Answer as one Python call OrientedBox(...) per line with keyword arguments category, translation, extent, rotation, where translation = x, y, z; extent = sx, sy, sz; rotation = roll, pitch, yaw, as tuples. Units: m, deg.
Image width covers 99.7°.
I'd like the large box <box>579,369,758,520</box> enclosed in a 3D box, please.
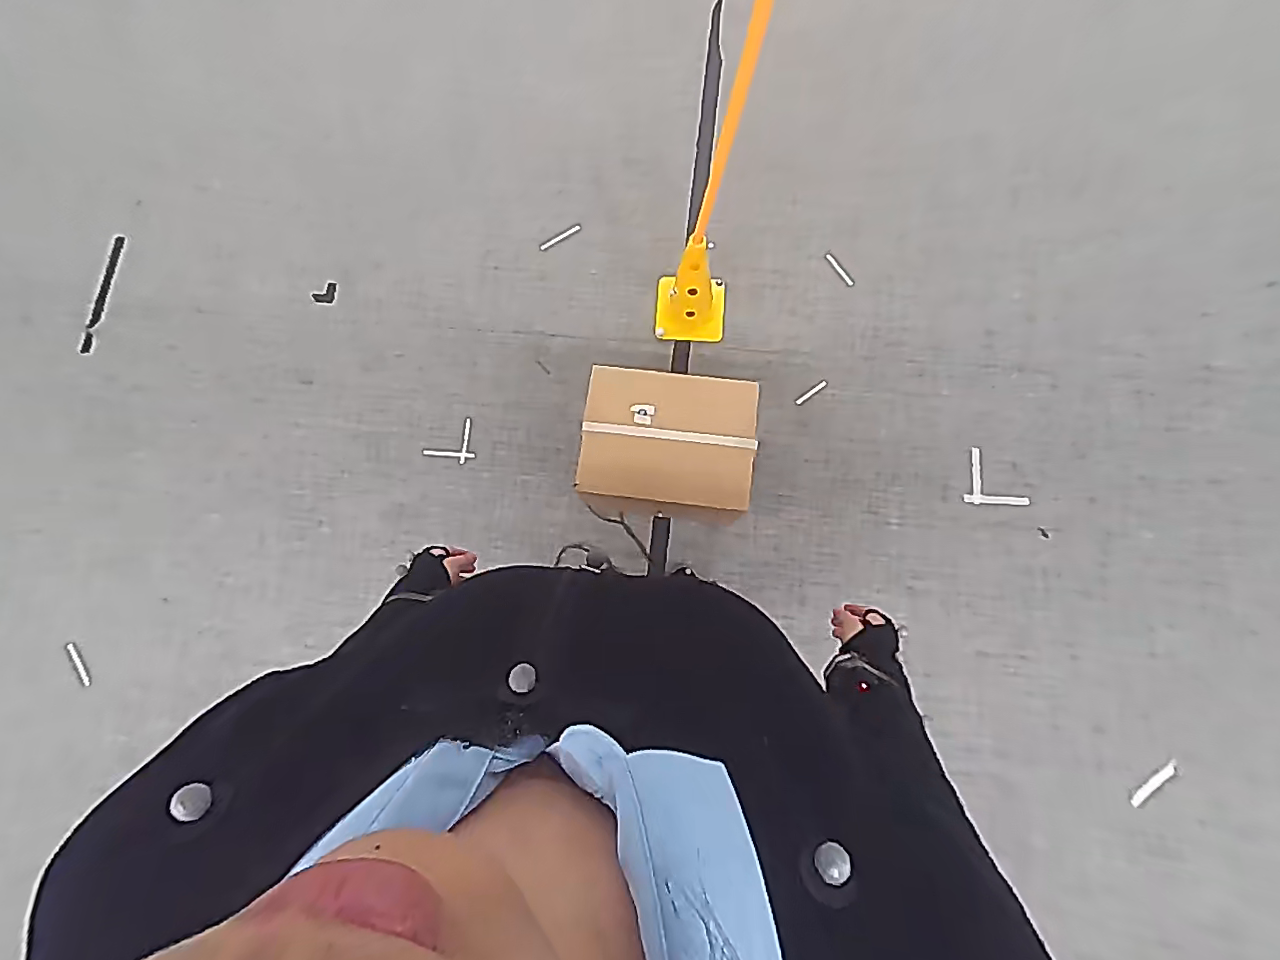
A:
OrientedBox(category="large box", translation=(0.079, -0.076, 1.416), extent=(0.408, 0.320, 0.320), rotation=(6, 79, 4))
